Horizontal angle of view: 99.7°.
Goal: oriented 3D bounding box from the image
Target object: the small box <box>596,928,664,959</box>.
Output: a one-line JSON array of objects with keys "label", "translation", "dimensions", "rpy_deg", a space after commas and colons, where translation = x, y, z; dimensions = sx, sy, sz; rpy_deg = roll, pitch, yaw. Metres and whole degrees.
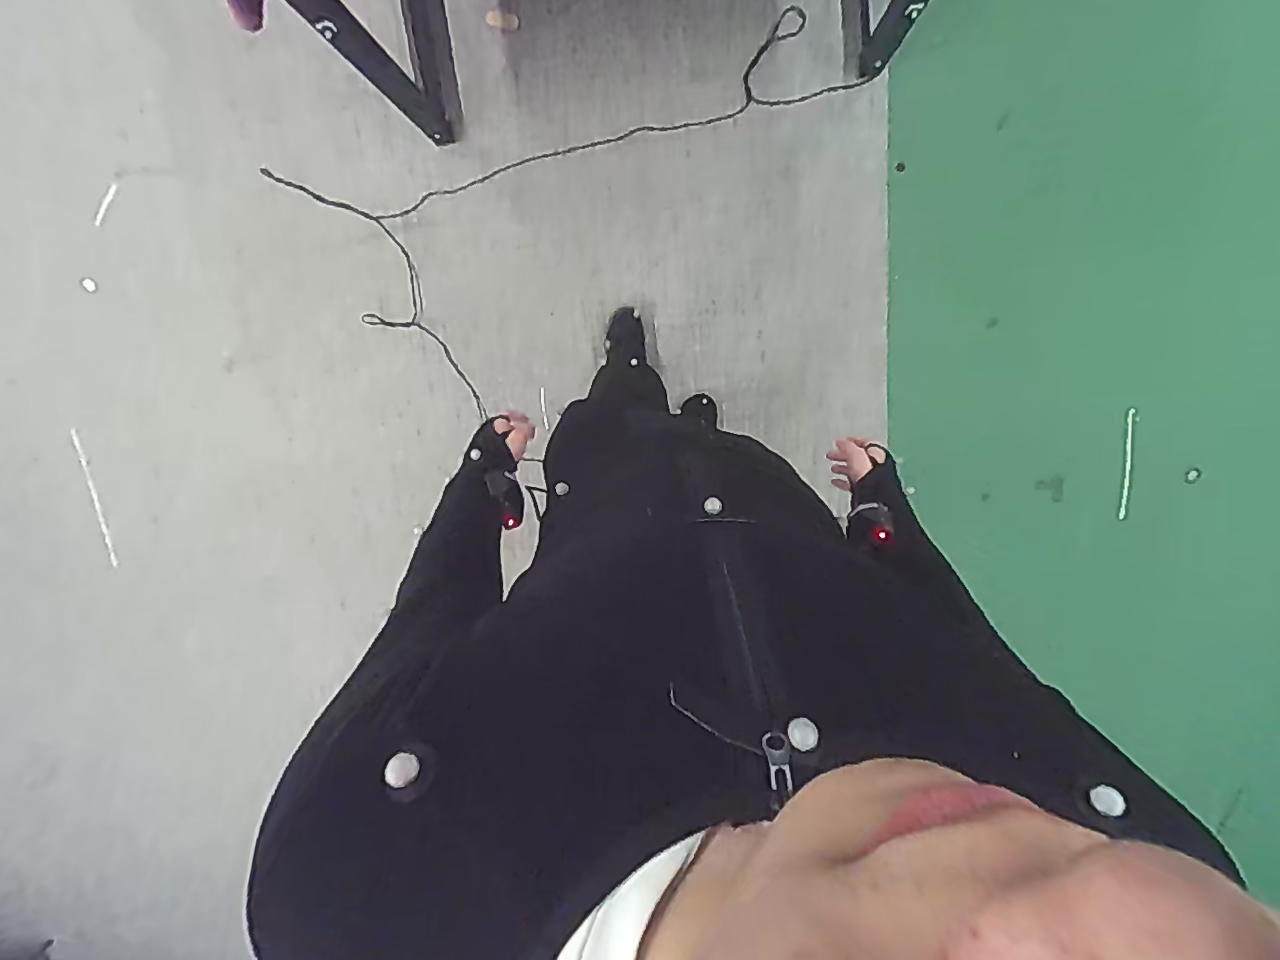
[{"label": "small box", "translation": [-0.027, 1.298, 1.388], "dimensions": [0.179, 0.176, 0.168], "rpy_deg": [-2, 102, 4]}]
